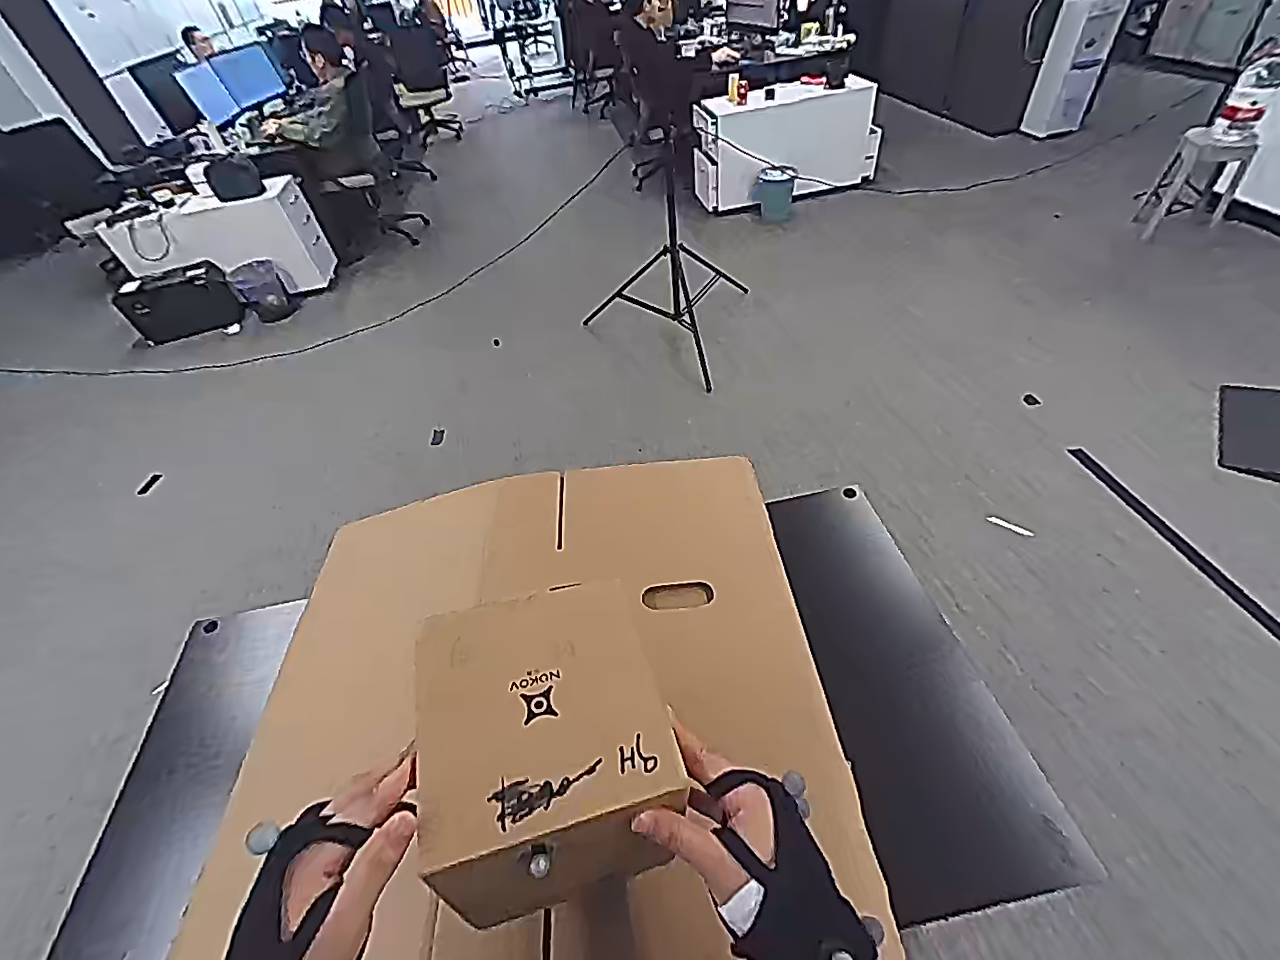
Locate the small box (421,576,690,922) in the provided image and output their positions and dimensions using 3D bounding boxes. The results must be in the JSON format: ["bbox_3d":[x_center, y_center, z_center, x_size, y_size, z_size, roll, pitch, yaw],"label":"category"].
[{"bbox_3d":[-0.069,0.210,0.436,0.168,0.176,0.179,-11,42,-12],"label":"small box"}]
